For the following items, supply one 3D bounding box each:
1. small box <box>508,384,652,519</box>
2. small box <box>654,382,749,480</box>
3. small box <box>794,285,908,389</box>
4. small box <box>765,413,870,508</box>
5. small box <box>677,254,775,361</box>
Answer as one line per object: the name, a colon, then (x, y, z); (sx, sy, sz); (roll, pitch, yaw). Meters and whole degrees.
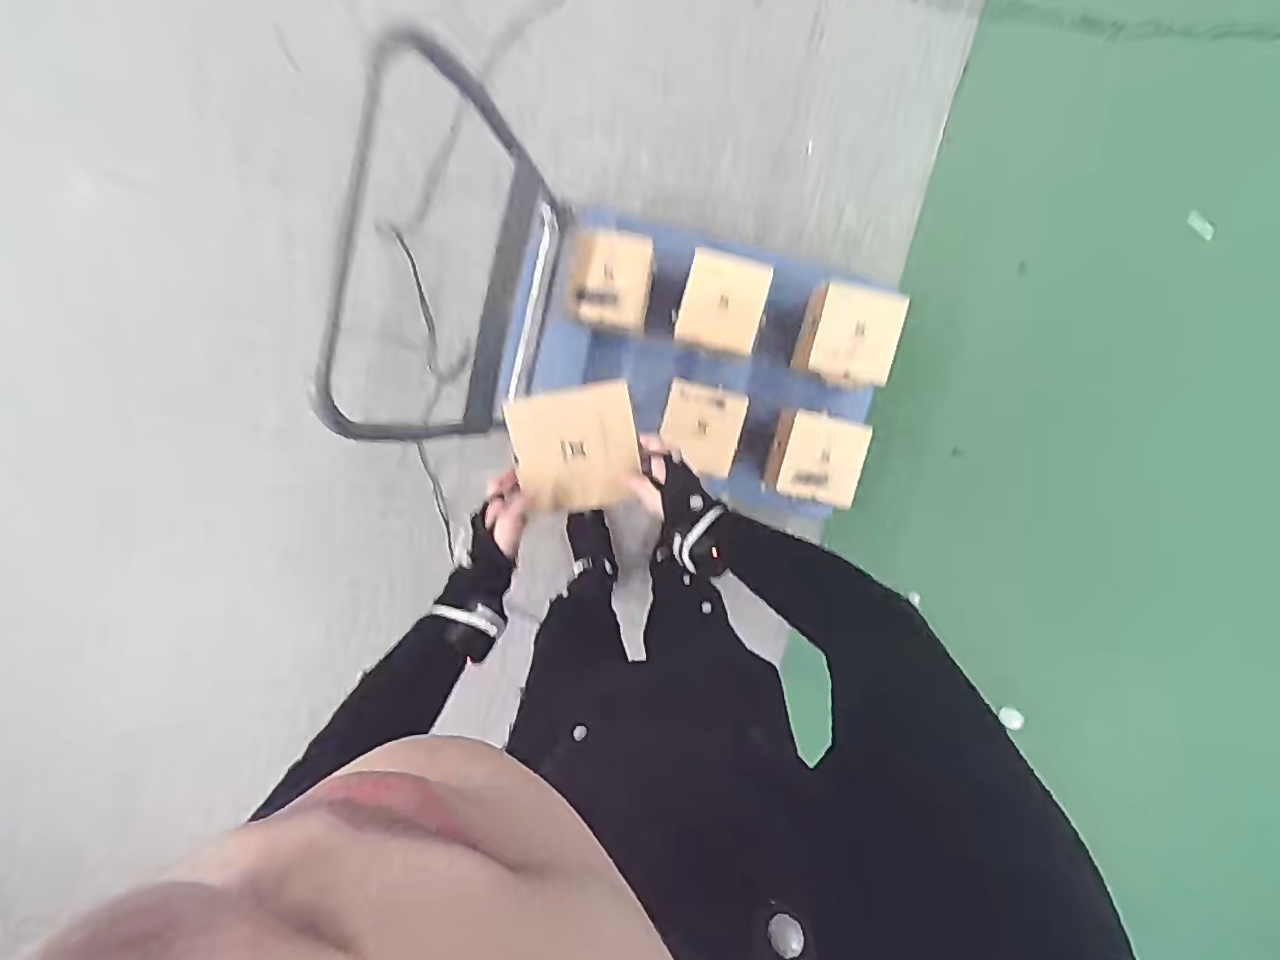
small box: (-0.080, -0.043, 0.817); (0.179, 0.176, 0.168); (-10, 94, 2)
small box: (0.135, -0.114, 1.232); (0.168, 0.176, 0.179); (16, 98, 0)
small box: (0.452, -0.306, 1.189); (0.168, 0.176, 0.179); (14, 98, 2)
small box: (0.396, -0.051, 1.244); (0.168, 0.176, 0.179); (14, 97, 0)
small box: (0.180, -0.373, 1.197); (0.168, 0.176, 0.179); (15, 99, 0)
